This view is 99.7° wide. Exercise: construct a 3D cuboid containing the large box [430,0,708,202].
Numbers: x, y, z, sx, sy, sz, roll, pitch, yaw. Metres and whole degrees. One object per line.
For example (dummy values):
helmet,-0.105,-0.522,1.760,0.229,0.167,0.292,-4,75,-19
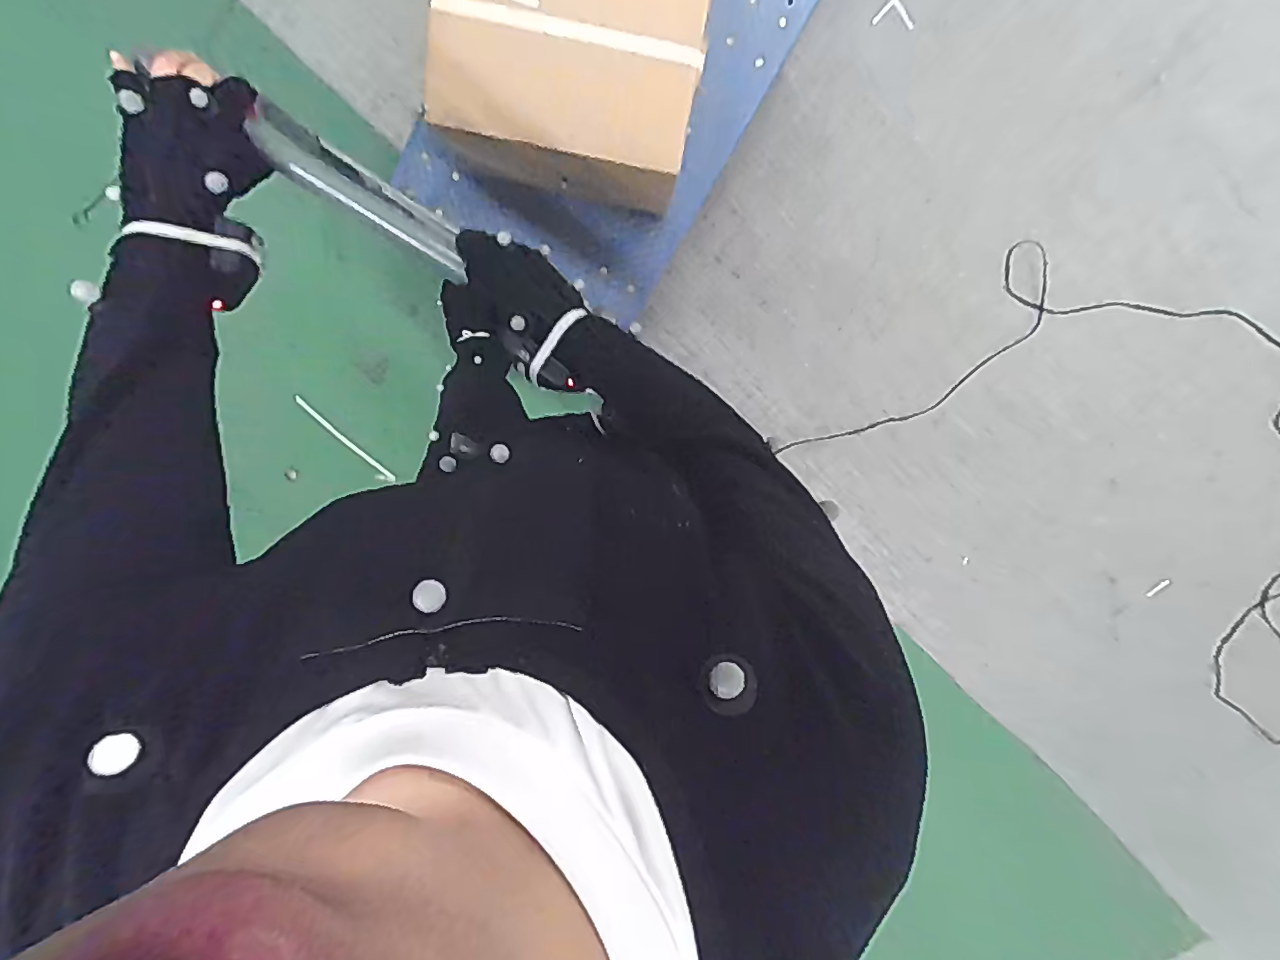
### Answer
large box,-0.105,-0.714,0.947,0.408,0.320,0.320,10,105,-3
